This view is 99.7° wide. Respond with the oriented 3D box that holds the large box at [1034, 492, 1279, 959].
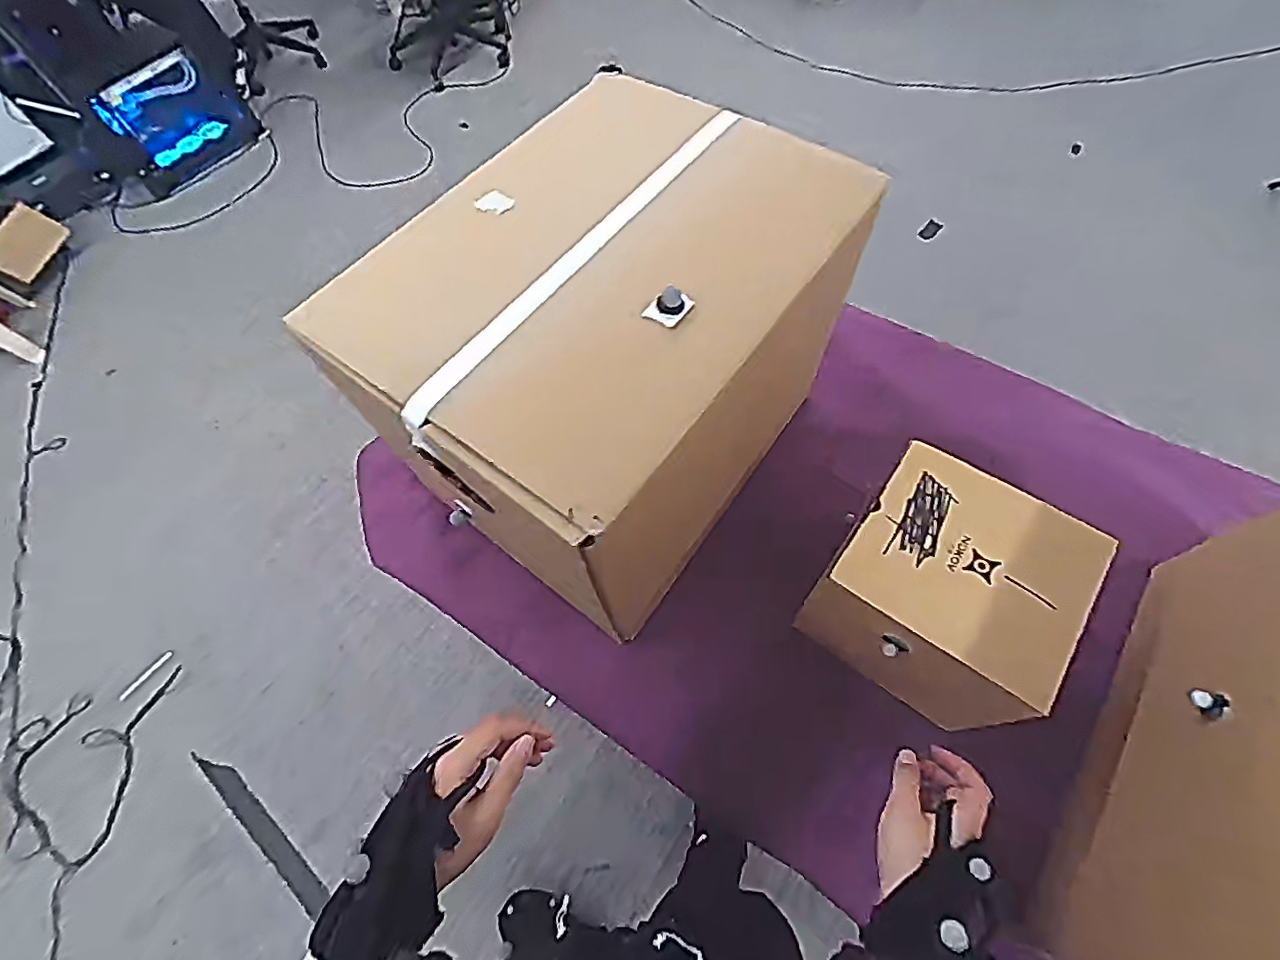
[{"bbox_3d":[0.539,0.229,0.336,0.320,0.320,0.408,31,67,19],"label":"large box"}]
